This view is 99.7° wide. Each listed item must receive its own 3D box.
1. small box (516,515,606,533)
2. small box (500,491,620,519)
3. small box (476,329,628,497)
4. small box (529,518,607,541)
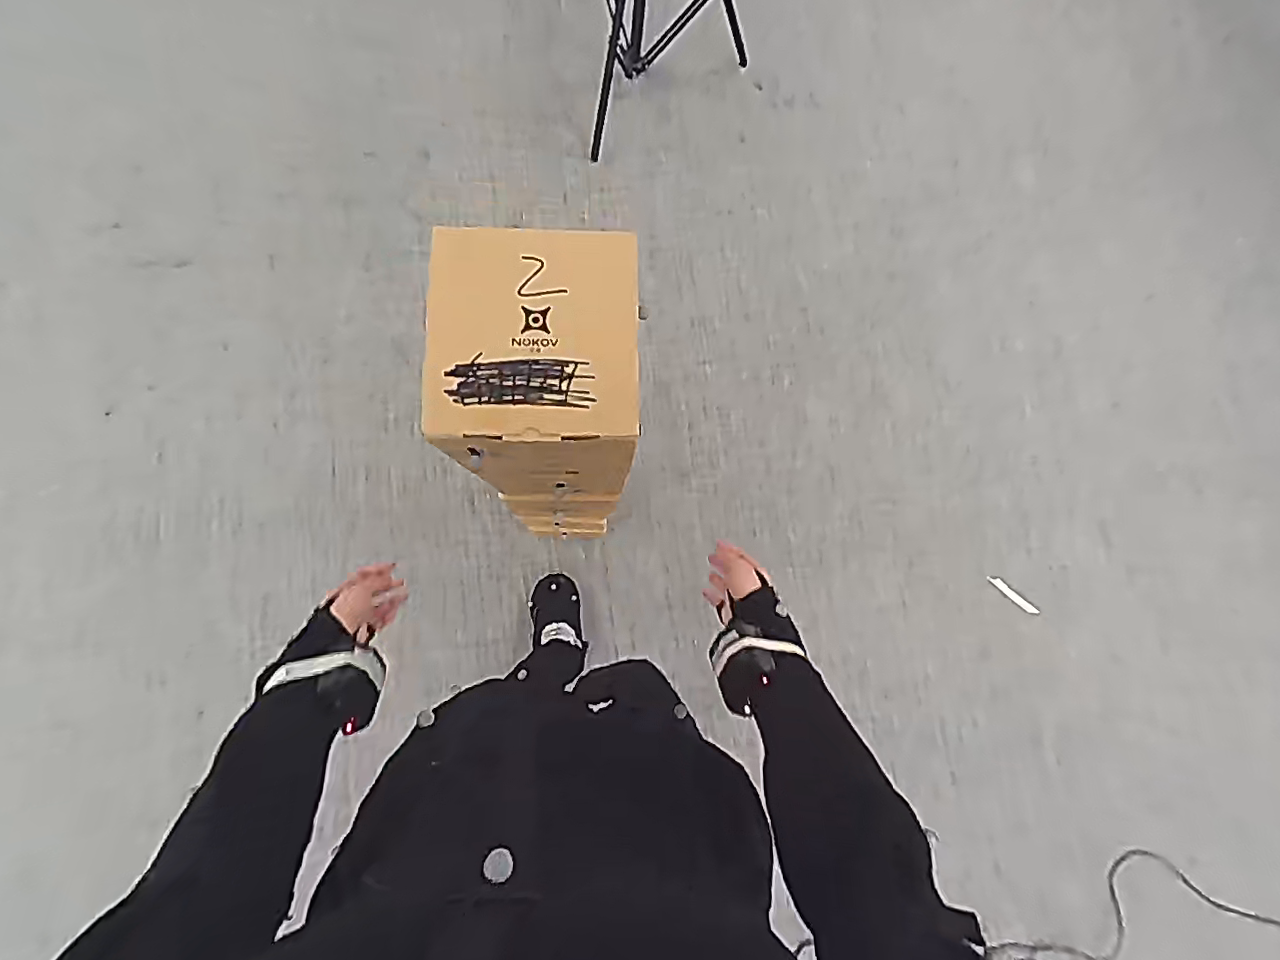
[{"bbox_3d":[-0.157,0.024,1.147,0.179,0.176,0.168,4,81,-5],"label":"small box"},{"bbox_3d":[-0.115,-0.036,0.829,0.168,0.176,0.179,1,82,-4],"label":"small box"},{"bbox_3d":[-0.101,-0.072,0.670,0.168,0.176,0.179,-1,82,-5],"label":"small box"},{"bbox_3d":[-0.170,0.059,1.307,0.179,0.176,0.168,1,80,-5],"label":"small box"}]
